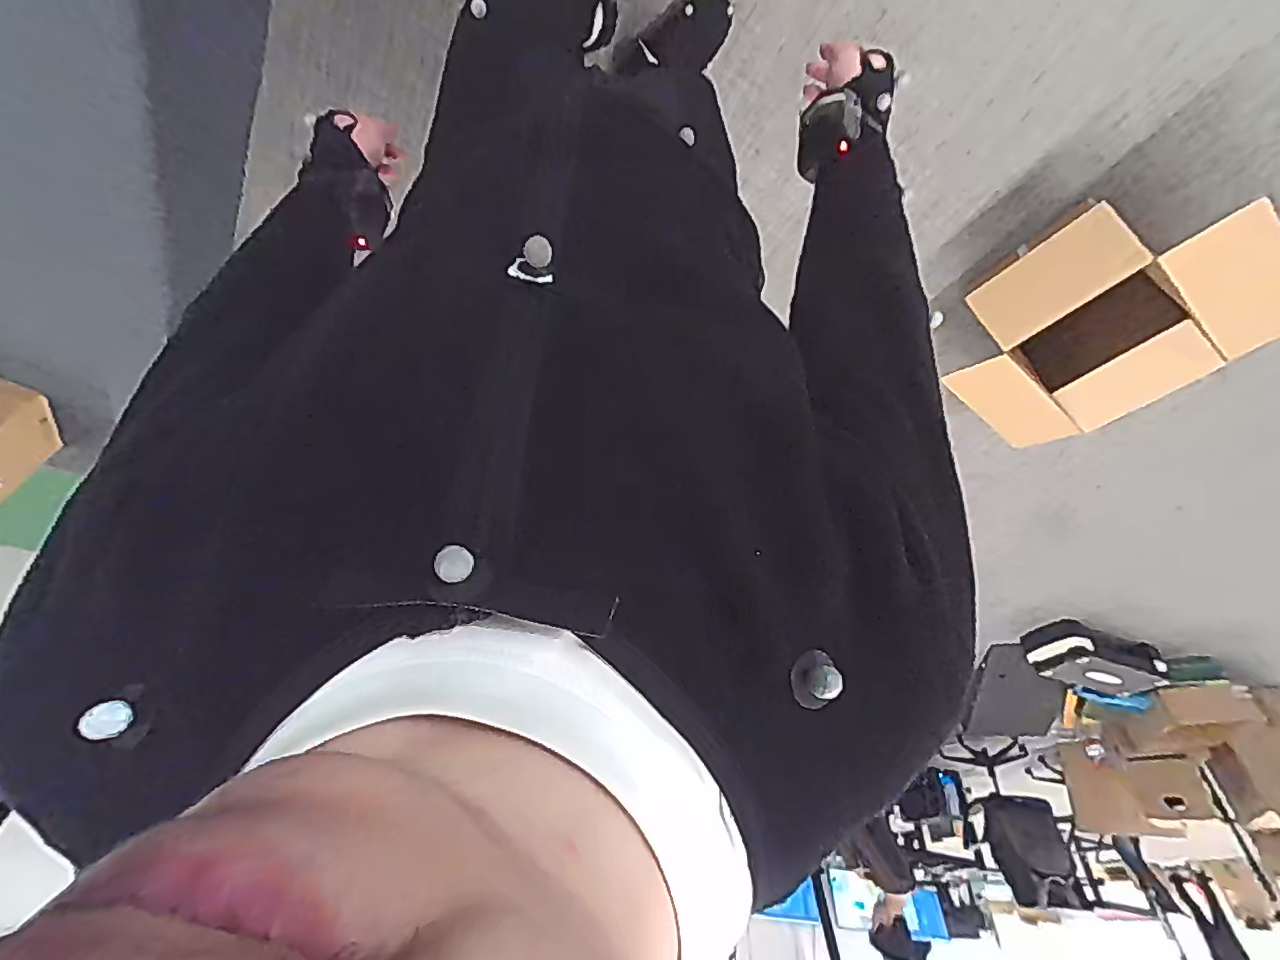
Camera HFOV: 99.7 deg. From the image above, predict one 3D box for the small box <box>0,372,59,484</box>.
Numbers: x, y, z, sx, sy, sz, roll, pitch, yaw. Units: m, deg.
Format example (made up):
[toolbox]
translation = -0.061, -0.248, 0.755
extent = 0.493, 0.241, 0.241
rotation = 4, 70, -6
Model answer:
[small box]
translation = -1.180, -0.097, 0.930
extent = 0.179, 0.176, 0.168
rotation = 25, 134, -20
